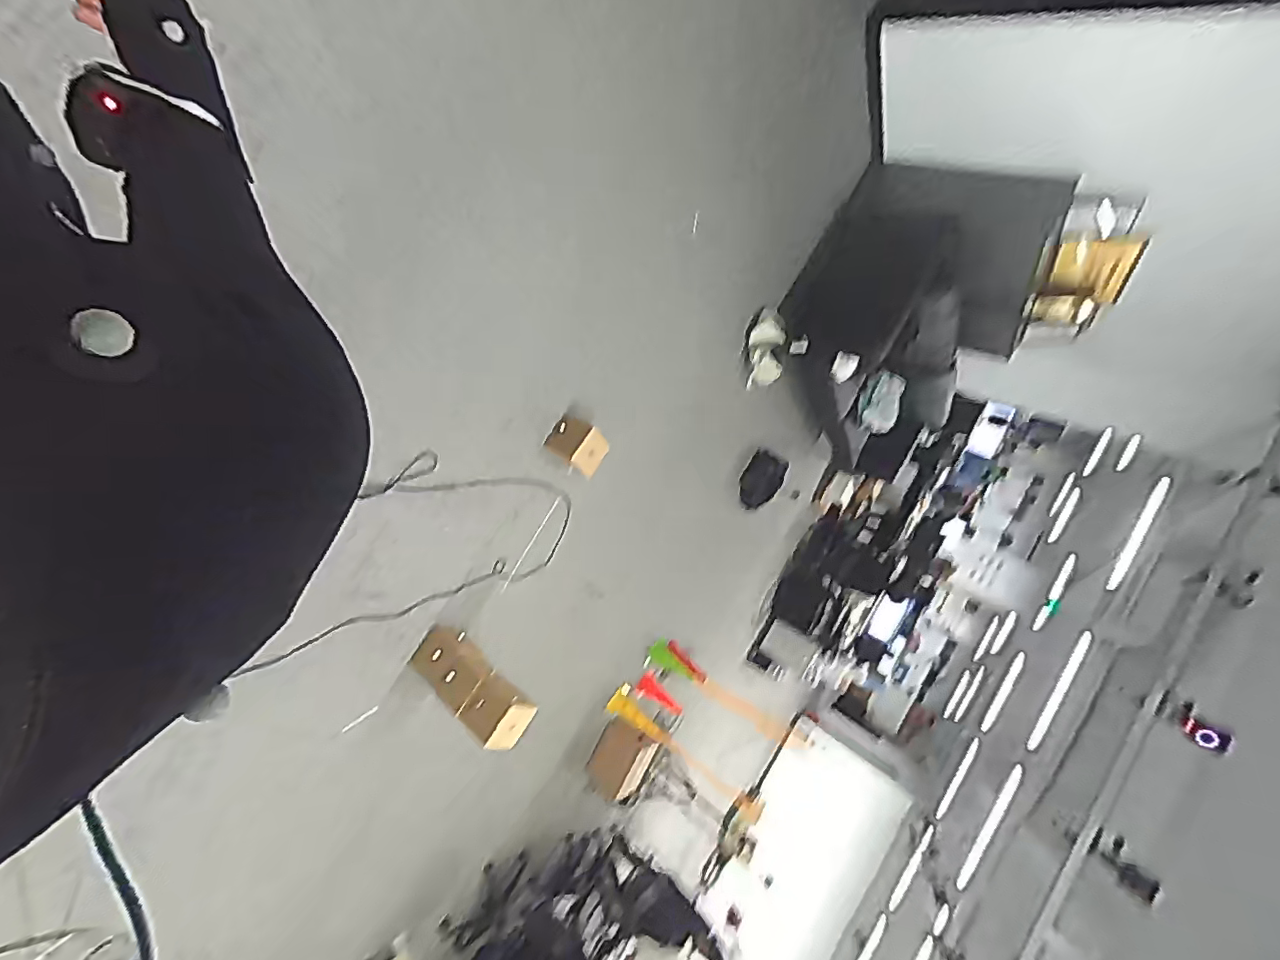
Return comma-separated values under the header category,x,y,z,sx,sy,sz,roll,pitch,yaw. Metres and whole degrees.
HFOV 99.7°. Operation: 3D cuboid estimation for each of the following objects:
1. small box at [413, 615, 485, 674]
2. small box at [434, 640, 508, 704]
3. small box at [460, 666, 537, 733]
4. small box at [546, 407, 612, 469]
category,x,y,z,sx,sy,sz,roll,pitch,yaw
small box,-0.766,0.662,2.158,0.179,0.176,0.168,-57,148,-7
small box,-0.647,0.736,2.072,0.168,0.176,0.179,-56,148,-7
small box,-0.523,0.808,1.995,0.168,0.176,0.179,-56,148,-7
small box,-0.249,-0.176,2.216,0.168,0.176,0.179,-55,149,-10
